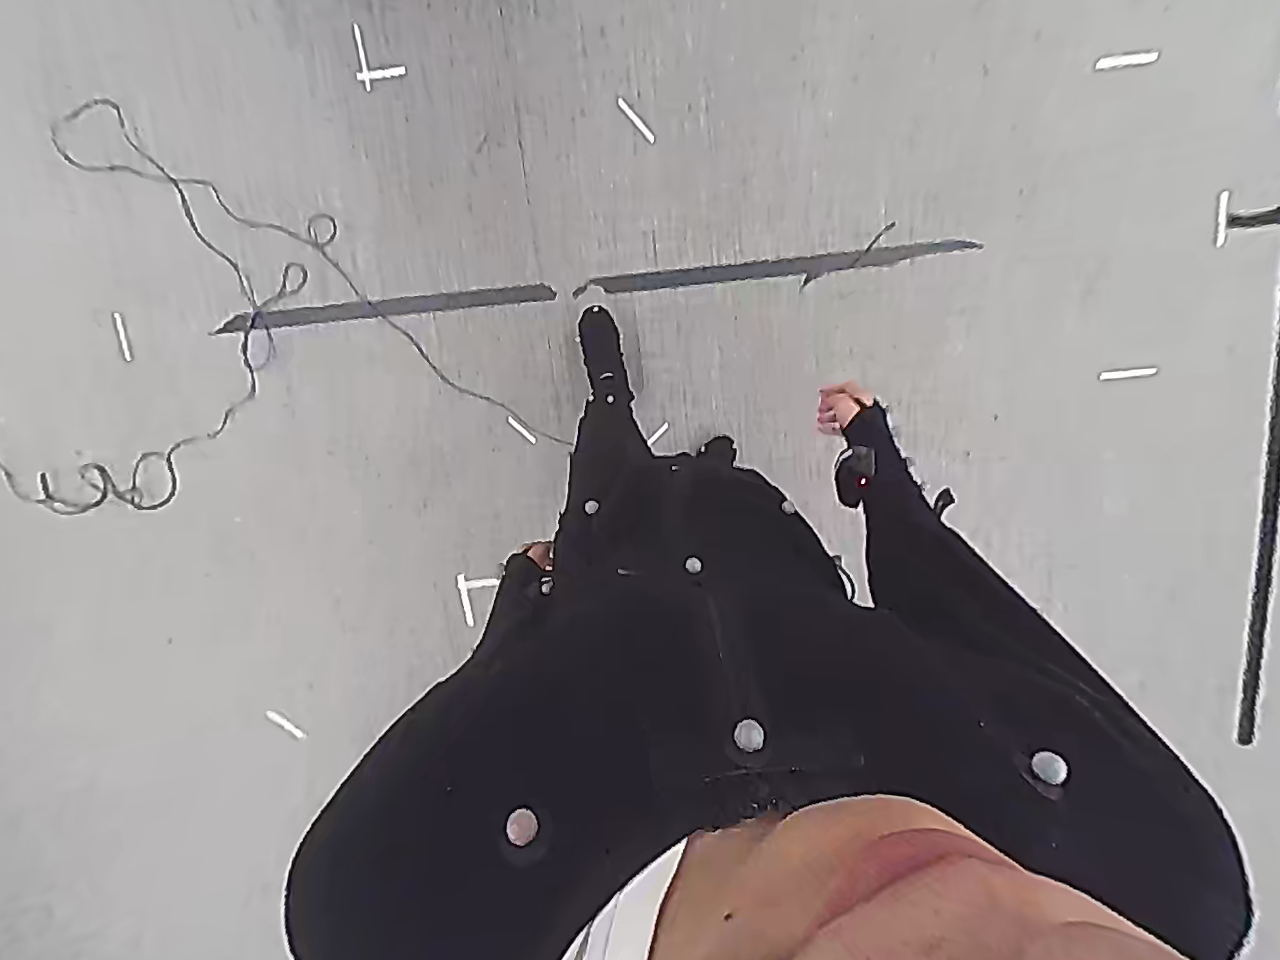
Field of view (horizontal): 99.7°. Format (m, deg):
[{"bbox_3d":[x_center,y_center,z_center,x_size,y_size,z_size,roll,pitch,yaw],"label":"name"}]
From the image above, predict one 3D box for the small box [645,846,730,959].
[{"bbox_3d":[0.114,1.041,1.322,0.179,0.176,0.168,-11,101,3],"label":"small box"}]
